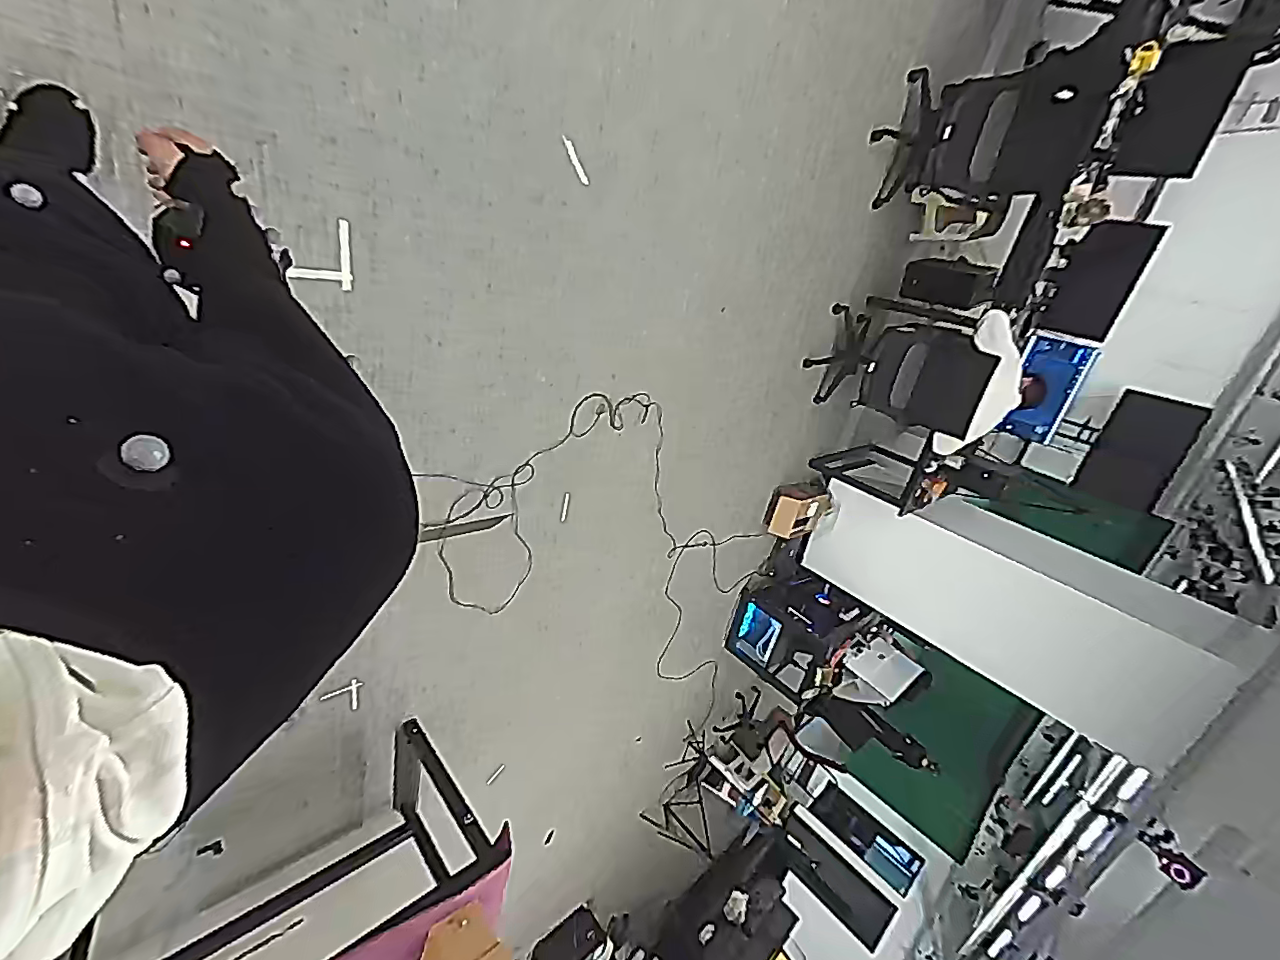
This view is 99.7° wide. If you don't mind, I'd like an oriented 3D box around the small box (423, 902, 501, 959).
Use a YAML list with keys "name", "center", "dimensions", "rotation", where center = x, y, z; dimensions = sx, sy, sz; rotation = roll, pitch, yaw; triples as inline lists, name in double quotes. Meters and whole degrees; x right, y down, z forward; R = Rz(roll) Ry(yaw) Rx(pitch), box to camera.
- name: "small box"
  center: [-0.576, 1.524, 1.737]
  dimensions: [0.168, 0.176, 0.179]
  rotation: [1, 113, -48]

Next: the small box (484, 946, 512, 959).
- name: "small box"
  center: [-0.459, 1.582, 1.636]
  dimensions: [0.179, 0.176, 0.168]
  rotation: [-2, 115, -47]
